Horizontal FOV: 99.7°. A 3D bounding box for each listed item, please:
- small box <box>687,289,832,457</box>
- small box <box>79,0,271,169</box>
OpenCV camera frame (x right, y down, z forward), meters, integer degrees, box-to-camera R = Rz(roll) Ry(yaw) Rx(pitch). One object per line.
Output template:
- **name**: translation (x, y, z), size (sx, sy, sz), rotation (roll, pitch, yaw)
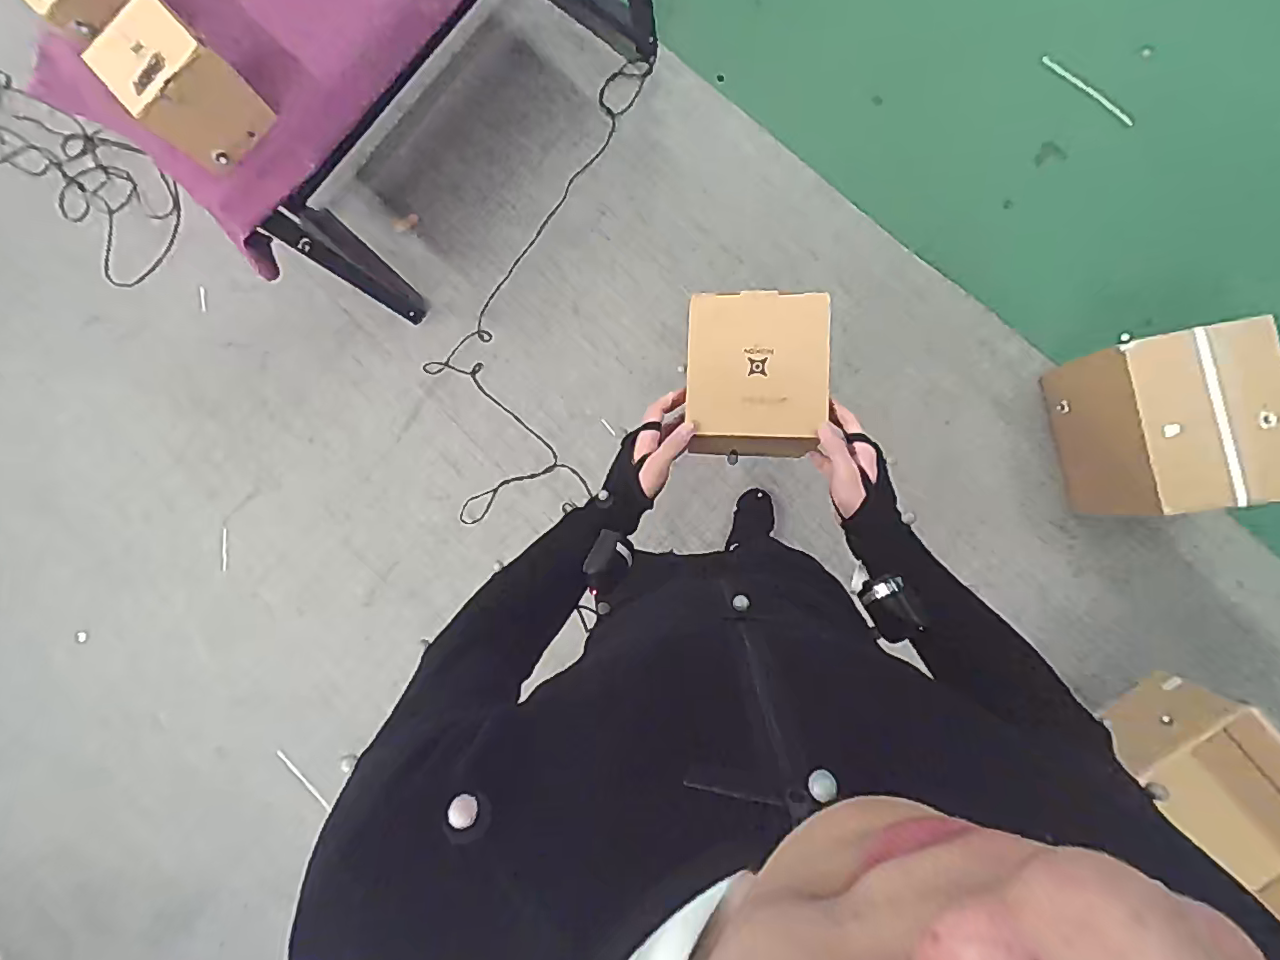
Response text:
- **small box**: translation (0.147, -0.131, 0.709), size (0.168, 0.176, 0.179), rotation (2, 85, 7)
- **small box**: translation (-0.829, -0.710, 0.983), size (0.168, 0.176, 0.179), rotation (-44, 81, 3)
